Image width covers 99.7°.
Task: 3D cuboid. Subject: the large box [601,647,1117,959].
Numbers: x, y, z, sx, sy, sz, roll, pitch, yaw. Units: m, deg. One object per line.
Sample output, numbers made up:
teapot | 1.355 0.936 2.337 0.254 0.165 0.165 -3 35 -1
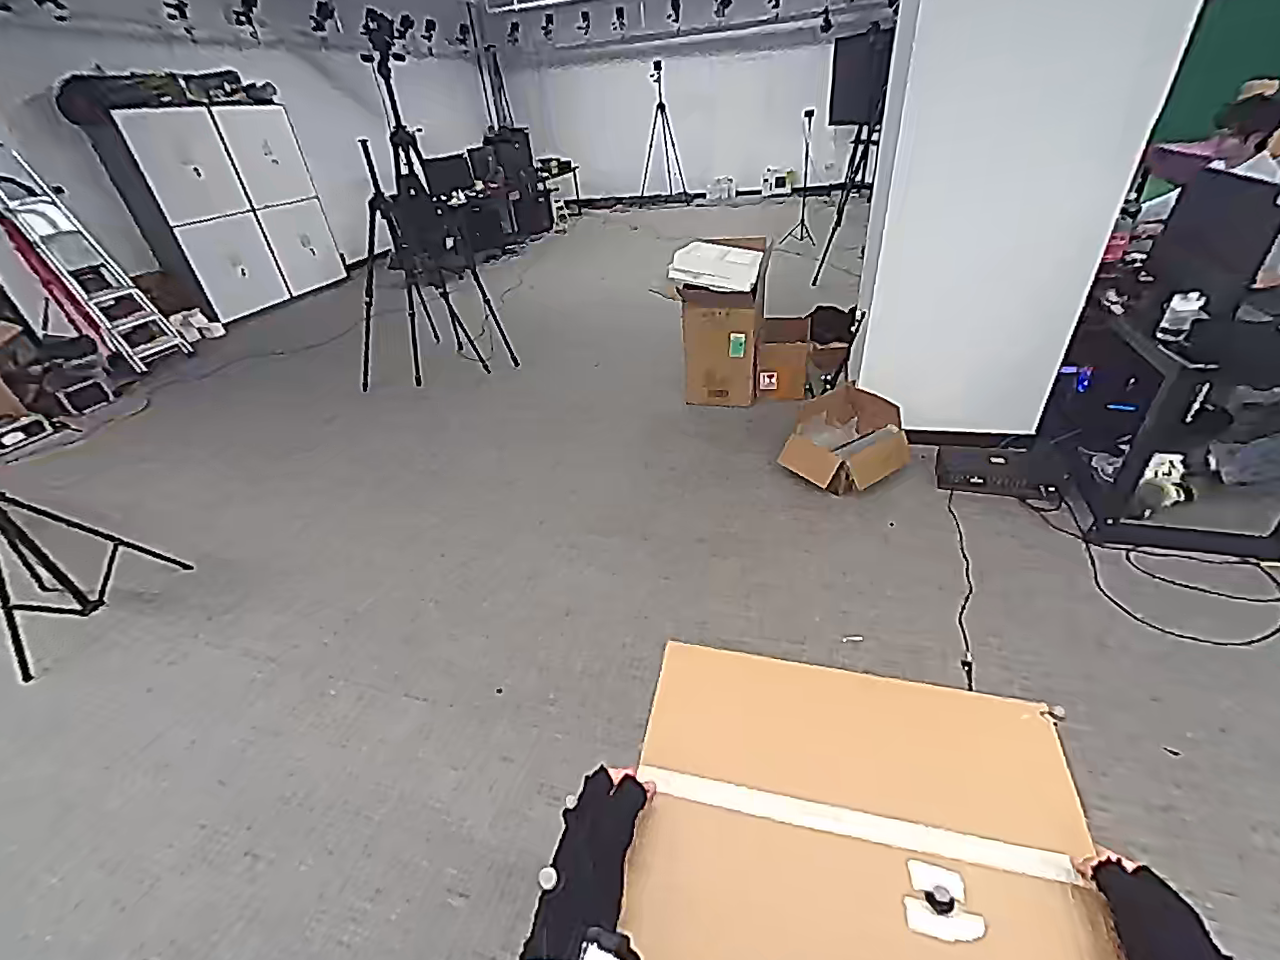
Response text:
large box | 0.199 0.429 0.599 0.408 0.320 0.320 6 42 12
